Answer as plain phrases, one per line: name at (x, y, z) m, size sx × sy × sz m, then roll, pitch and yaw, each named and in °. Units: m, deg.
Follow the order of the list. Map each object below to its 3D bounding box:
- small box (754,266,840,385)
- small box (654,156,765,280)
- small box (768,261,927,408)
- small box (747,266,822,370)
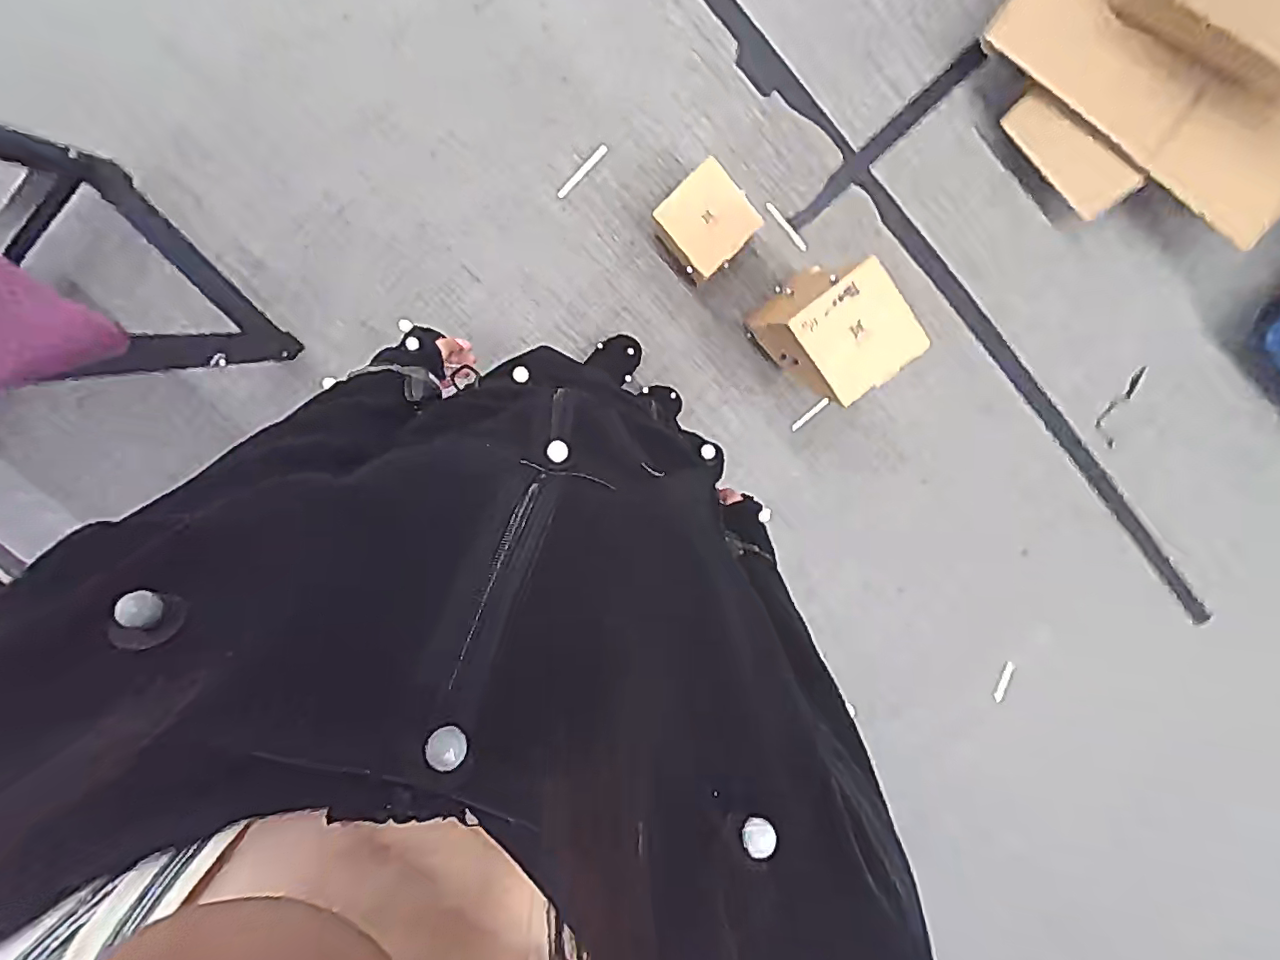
small box at (0.355, -0.303, 1.098) m, size 0.168 × 0.176 × 0.179 m, roll -39°, pitch 103°, yaw 12°
small box at (0.144, -0.565, 1.197) m, size 0.168 × 0.176 × 0.179 m, roll -41°, pitch 102°, yaw 11°
small box at (0.350, -0.254, 0.941) m, size 0.168 × 0.176 × 0.179 m, roll -36°, pitch 104°, yaw 11°
small box at (0.366, -0.364, 1.251) m, size 0.179 × 0.176 × 0.168 m, roll -42°, pitch 102°, yaw 11°
